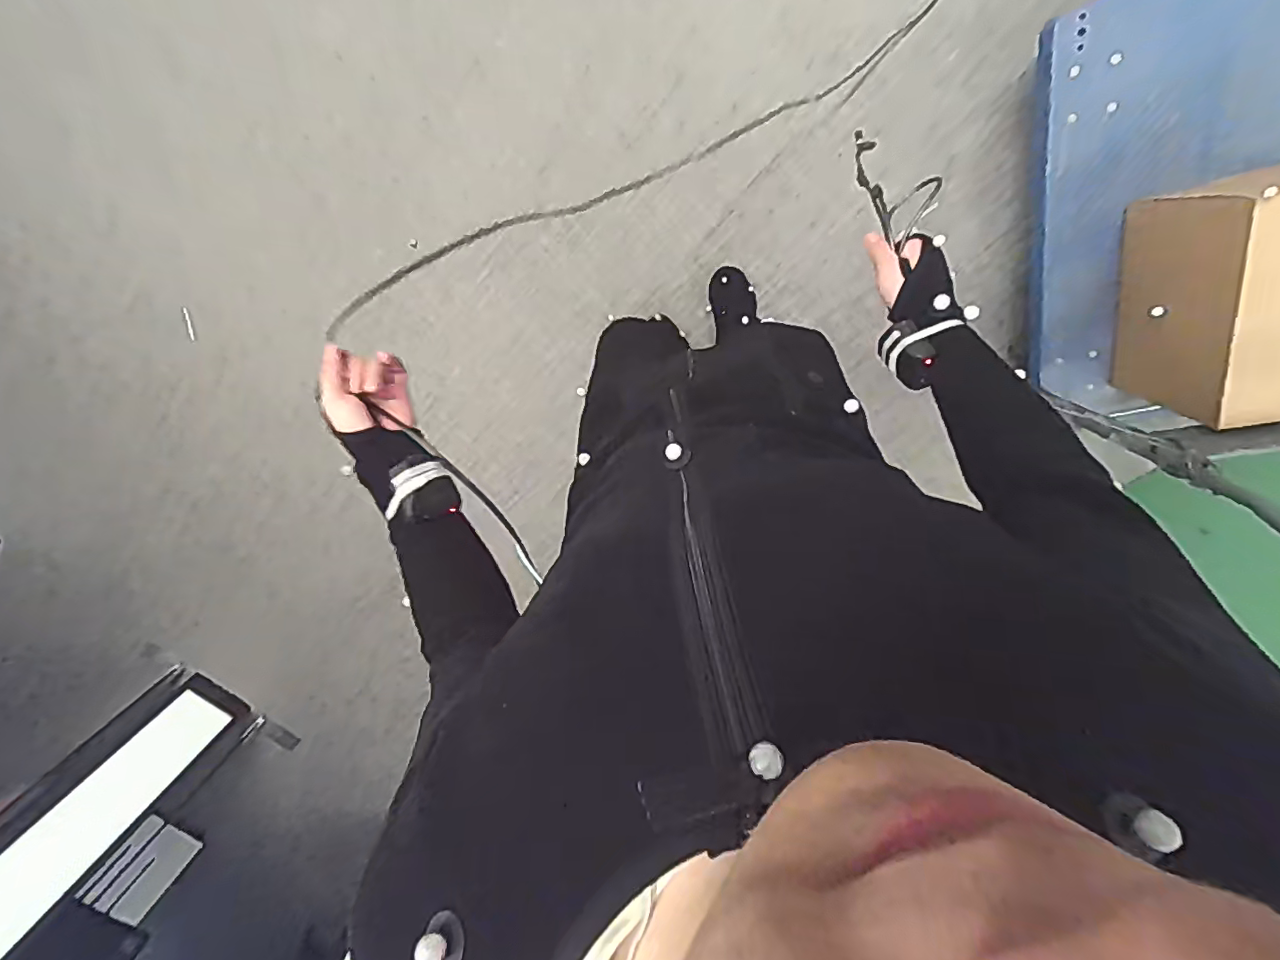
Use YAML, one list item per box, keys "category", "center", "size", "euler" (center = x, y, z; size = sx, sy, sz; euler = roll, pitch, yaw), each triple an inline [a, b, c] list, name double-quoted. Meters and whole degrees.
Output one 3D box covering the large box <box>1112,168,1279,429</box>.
- category: "large box"
  center: [1.180, -0.357, 1.031]
  size: [0.320, 0.320, 0.408]
  euler: [-11, 113, 12]
